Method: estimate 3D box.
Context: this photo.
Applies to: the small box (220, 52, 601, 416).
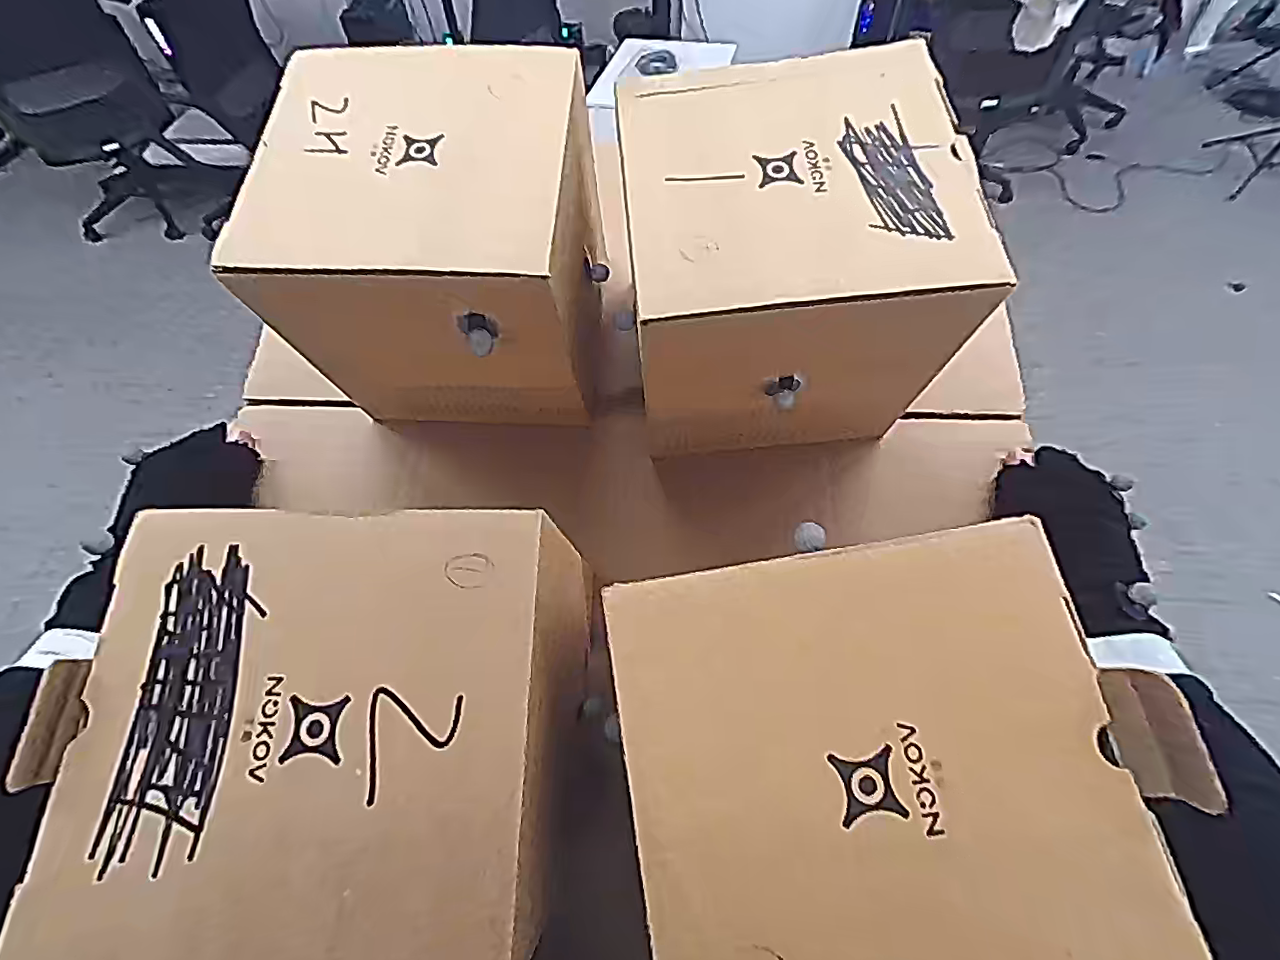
[{"bbox_3d":[-0.126,-0.155,0.380,0.179,0.176,0.168,3,70,4],"label":"small box"}]
